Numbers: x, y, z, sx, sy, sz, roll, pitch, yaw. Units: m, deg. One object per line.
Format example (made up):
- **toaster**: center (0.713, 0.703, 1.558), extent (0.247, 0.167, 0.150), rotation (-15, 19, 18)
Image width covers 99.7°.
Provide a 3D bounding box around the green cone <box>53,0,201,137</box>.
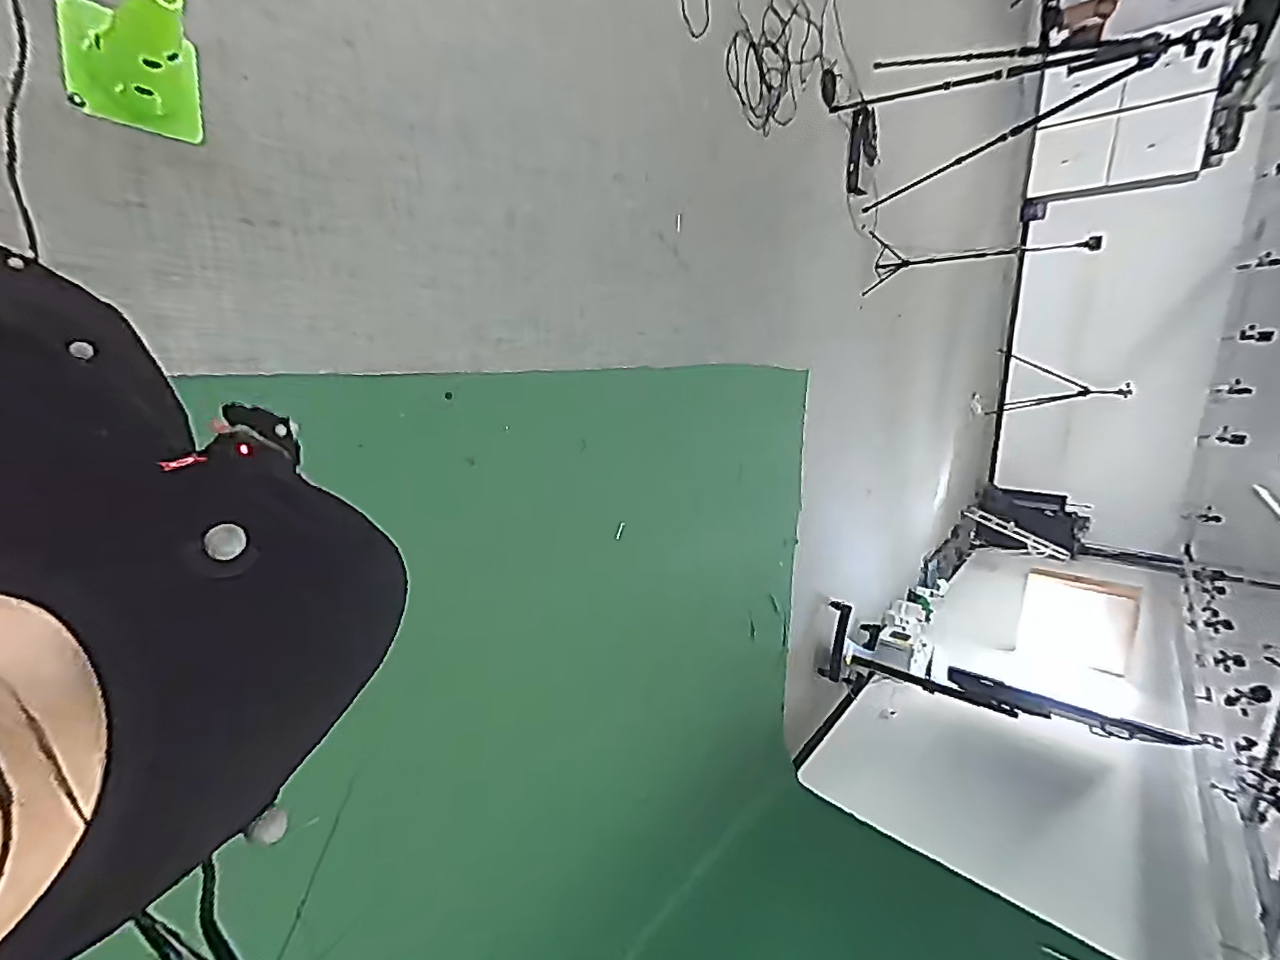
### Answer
- **green cone**: center (-0.864, -0.785, 0.947), extent (0.200, 0.368, 0.202), rotation (-10, 105, -48)
